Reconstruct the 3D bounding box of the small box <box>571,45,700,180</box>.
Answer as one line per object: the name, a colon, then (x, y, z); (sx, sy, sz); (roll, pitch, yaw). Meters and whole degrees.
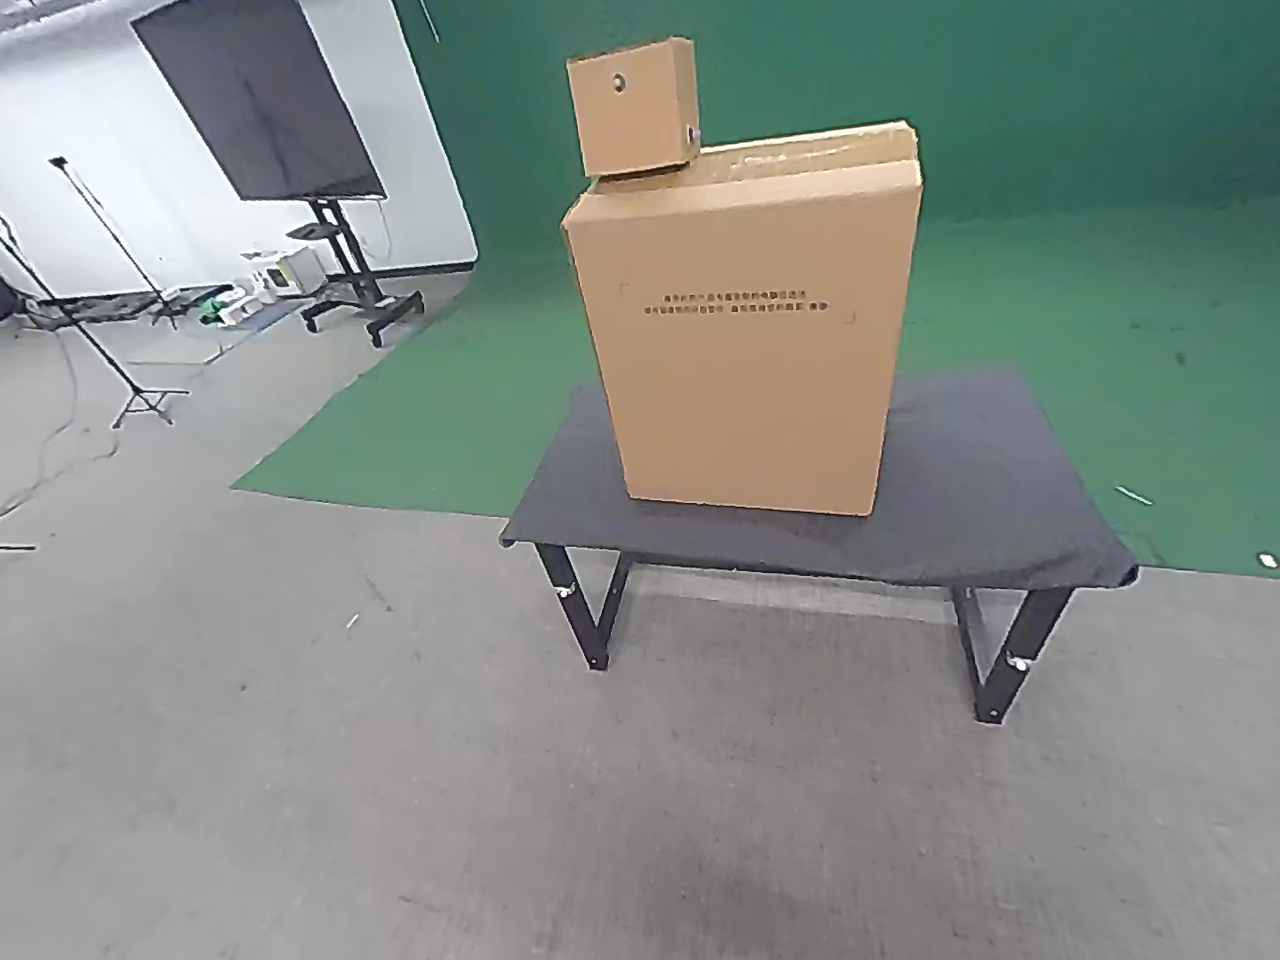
small box: (0.002, -0.624, 0.931); (0.179, 0.176, 0.168); (3, 36, 15)
